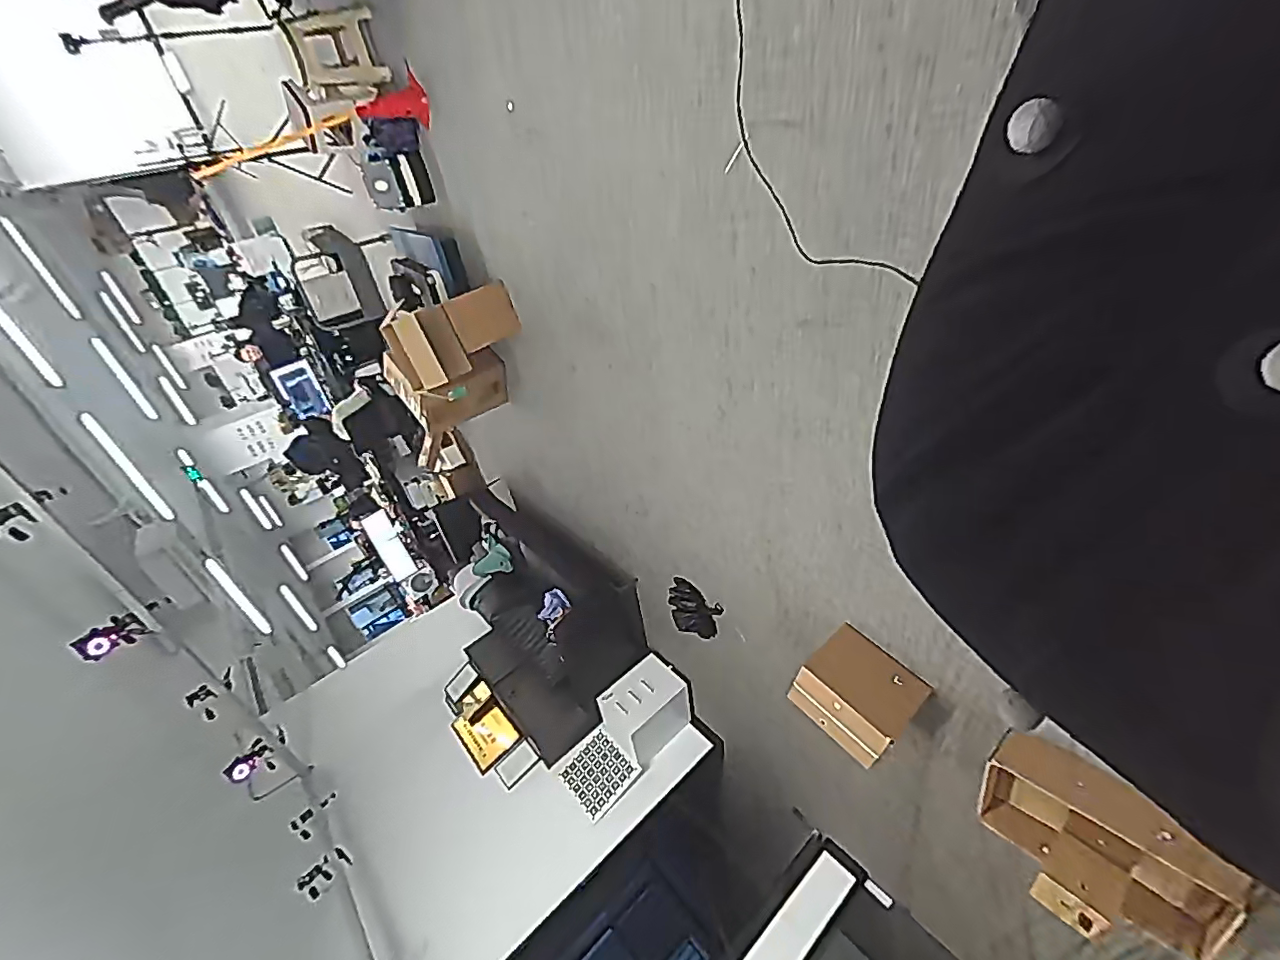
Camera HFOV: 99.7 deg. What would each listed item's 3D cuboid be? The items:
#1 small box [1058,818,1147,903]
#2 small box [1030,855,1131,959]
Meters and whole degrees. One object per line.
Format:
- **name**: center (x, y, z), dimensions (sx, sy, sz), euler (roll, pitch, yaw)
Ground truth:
- **small box**: center (1.439, 1.215, 1.694), dimensions (0.179, 0.176, 0.168), euler (26, 136, 47)
- **small box**: center (1.312, 1.278, 1.610), dimensions (0.179, 0.176, 0.168), euler (28, 139, 45)
